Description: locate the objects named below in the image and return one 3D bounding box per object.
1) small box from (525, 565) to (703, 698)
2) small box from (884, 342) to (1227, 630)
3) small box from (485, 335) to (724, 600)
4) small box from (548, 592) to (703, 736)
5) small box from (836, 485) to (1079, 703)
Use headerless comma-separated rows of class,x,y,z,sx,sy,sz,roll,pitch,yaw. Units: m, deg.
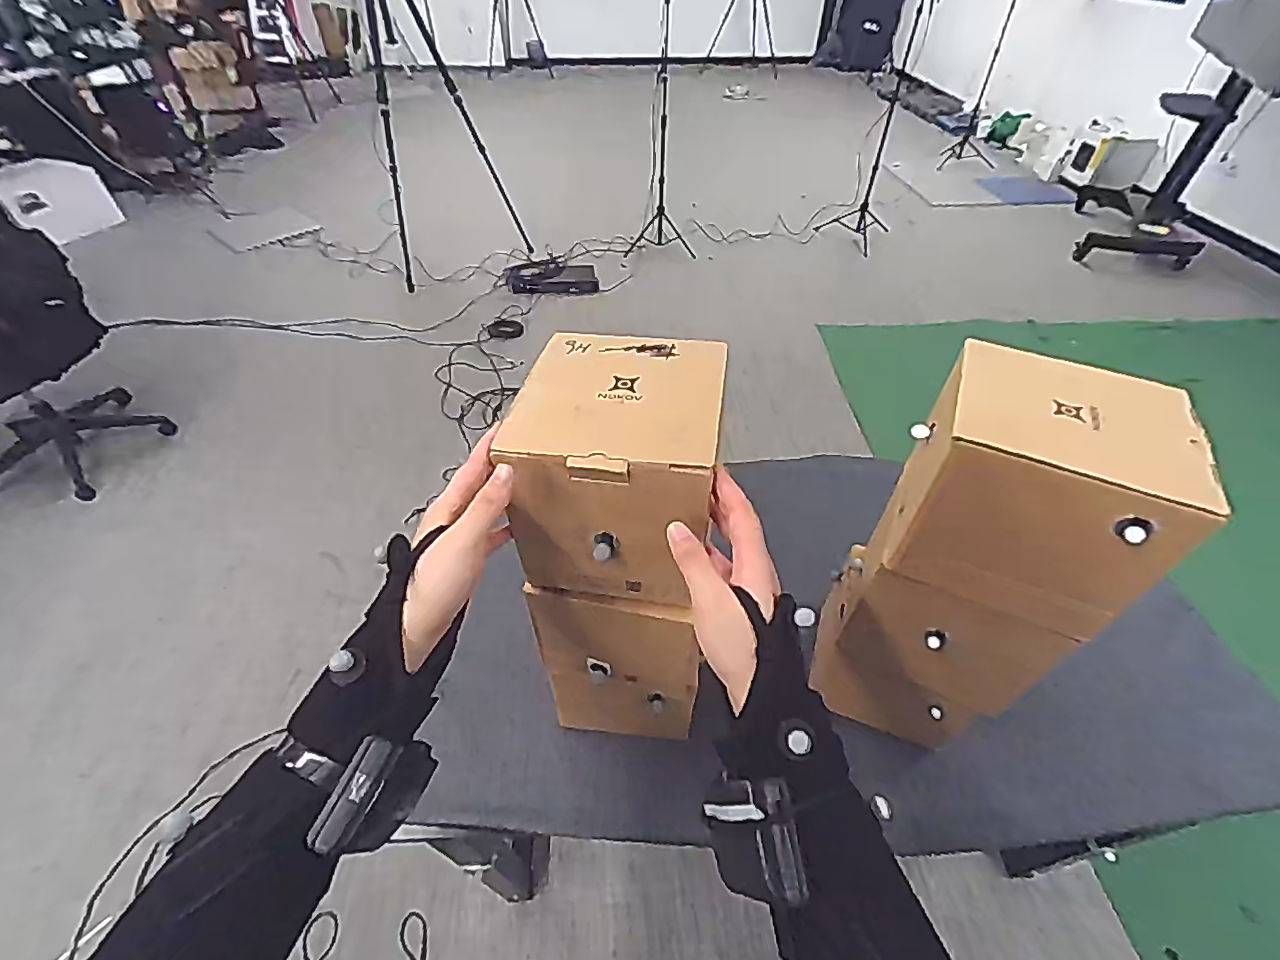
small box,-0.013,0.115,0.608,0.168,0.176,0.179,7,47,8
small box,0.341,0.005,0.486,0.179,0.176,0.168,21,48,18
small box,-0.014,-0.011,0.492,0.168,0.176,0.179,5,46,9
small box,-0.012,0.226,0.726,0.179,0.176,0.168,4,45,4
small box,0.343,0.119,0.602,0.179,0.176,0.168,22,49,20
